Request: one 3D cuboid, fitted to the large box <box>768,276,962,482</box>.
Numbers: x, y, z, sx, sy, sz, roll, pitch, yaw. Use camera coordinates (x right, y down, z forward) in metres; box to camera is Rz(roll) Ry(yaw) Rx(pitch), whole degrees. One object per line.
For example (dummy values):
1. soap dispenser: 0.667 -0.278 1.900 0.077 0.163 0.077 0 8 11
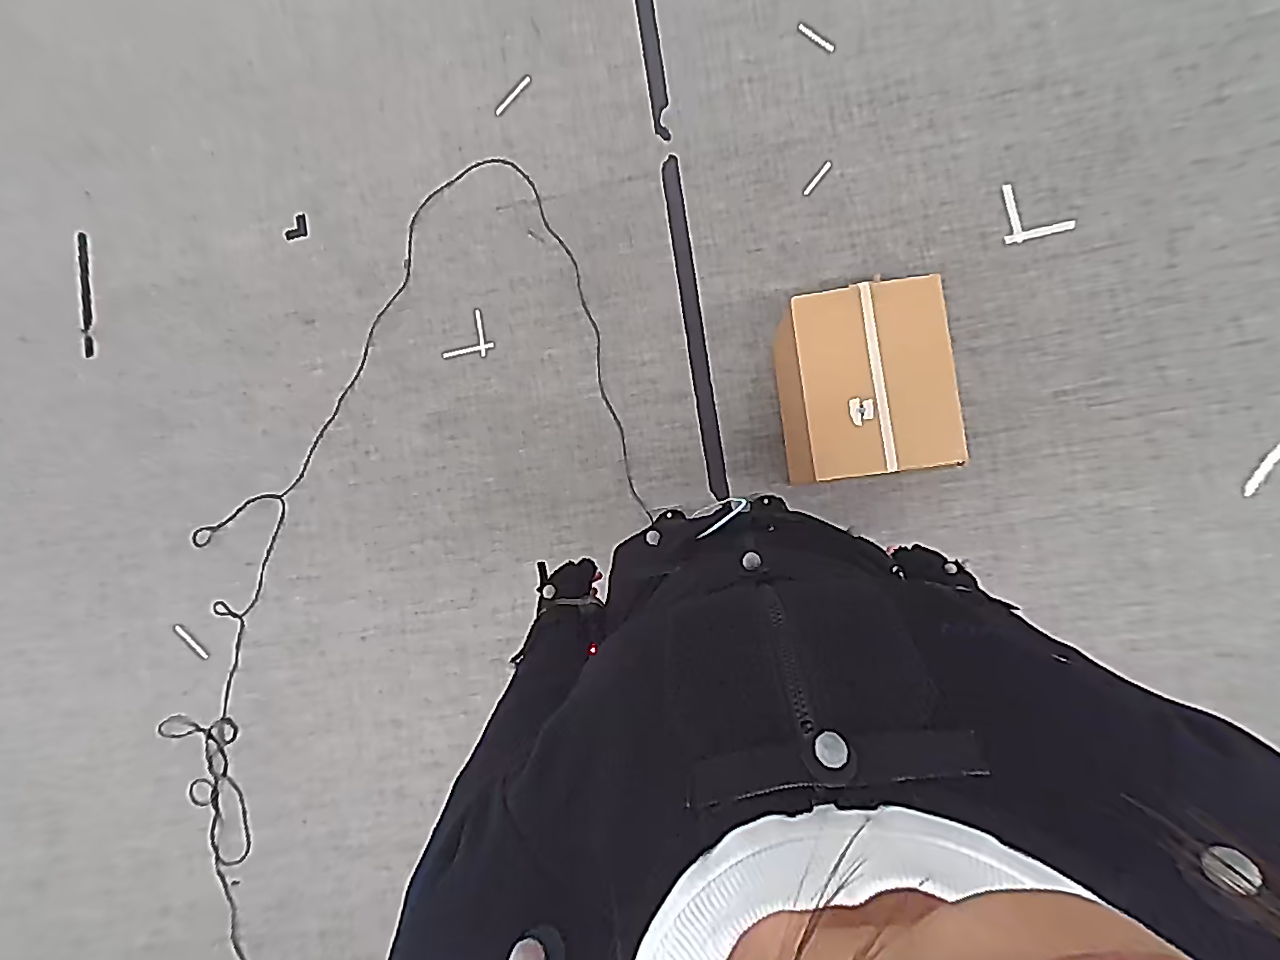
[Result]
1. large box: 0.510 -0.214 1.297 0.320 0.320 0.408 -8 88 6
